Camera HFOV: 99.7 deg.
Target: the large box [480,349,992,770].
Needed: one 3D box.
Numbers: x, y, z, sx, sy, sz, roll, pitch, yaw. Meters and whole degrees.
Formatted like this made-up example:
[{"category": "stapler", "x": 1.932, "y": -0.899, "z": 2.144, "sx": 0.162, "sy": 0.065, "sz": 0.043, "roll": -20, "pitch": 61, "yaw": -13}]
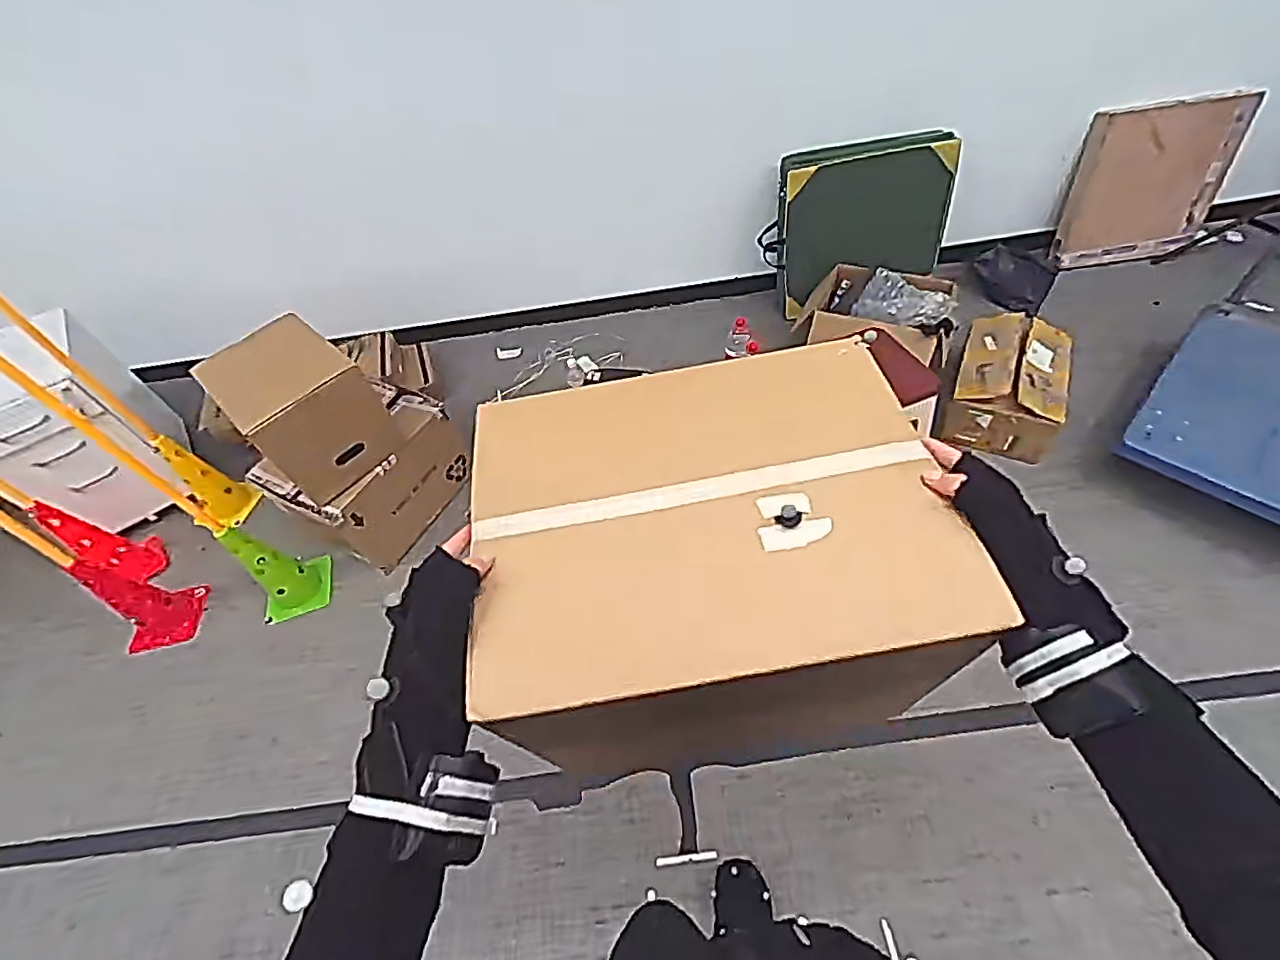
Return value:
[{"category": "large box", "x": 0.065, "y": 0.103, "z": 0.611, "sx": 0.408, "sy": 0.320, "sz": 0.320, "roll": -10, "pitch": 55, "yaw": 0}]
